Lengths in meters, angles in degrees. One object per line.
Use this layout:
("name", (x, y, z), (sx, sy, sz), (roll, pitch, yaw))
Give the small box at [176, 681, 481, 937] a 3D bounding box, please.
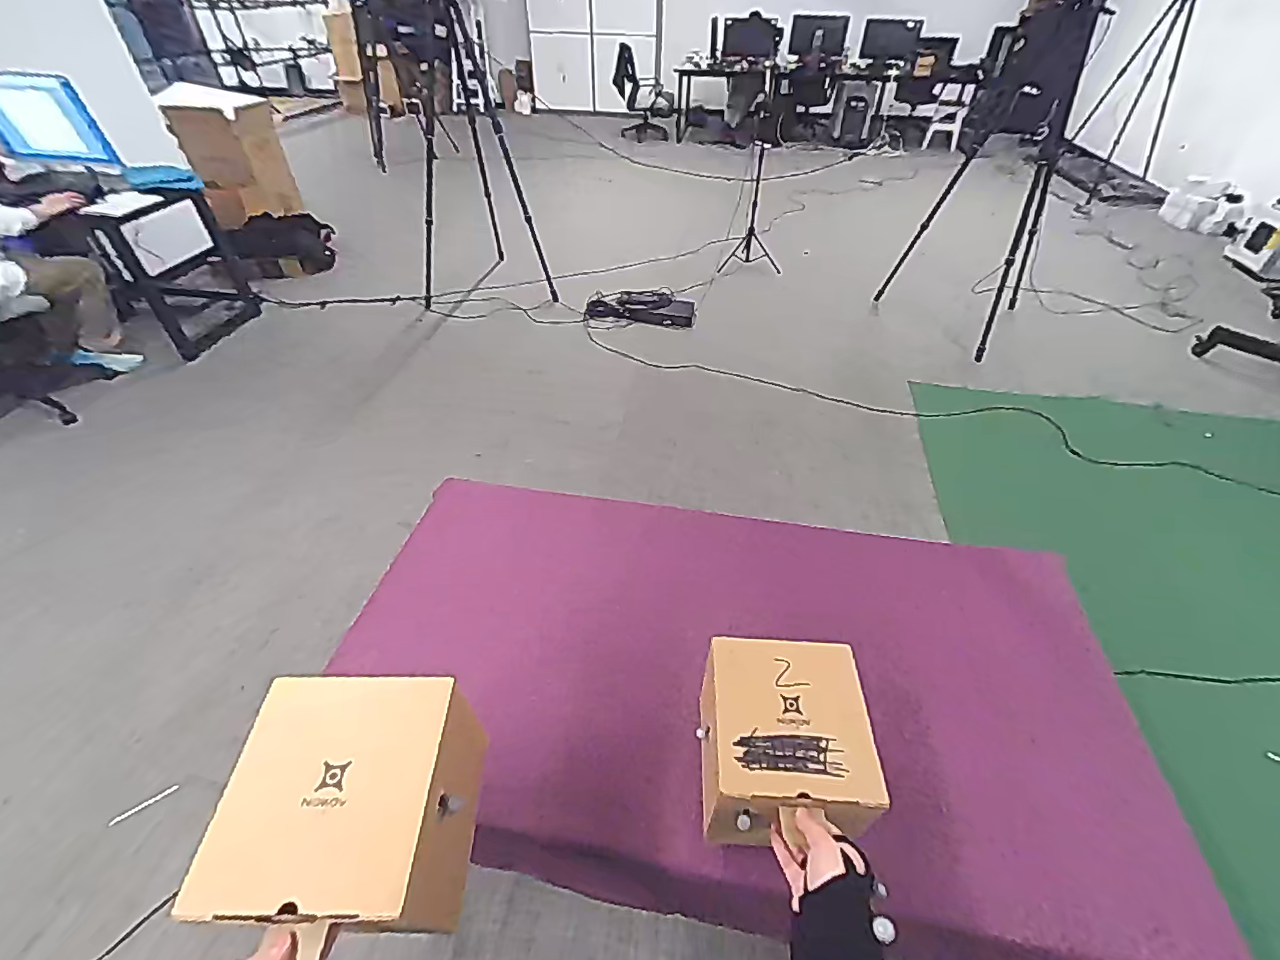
("small box", (-0.256, 0.307, 0.503), (0.168, 0.176, 0.179), (1, 49, -1))
